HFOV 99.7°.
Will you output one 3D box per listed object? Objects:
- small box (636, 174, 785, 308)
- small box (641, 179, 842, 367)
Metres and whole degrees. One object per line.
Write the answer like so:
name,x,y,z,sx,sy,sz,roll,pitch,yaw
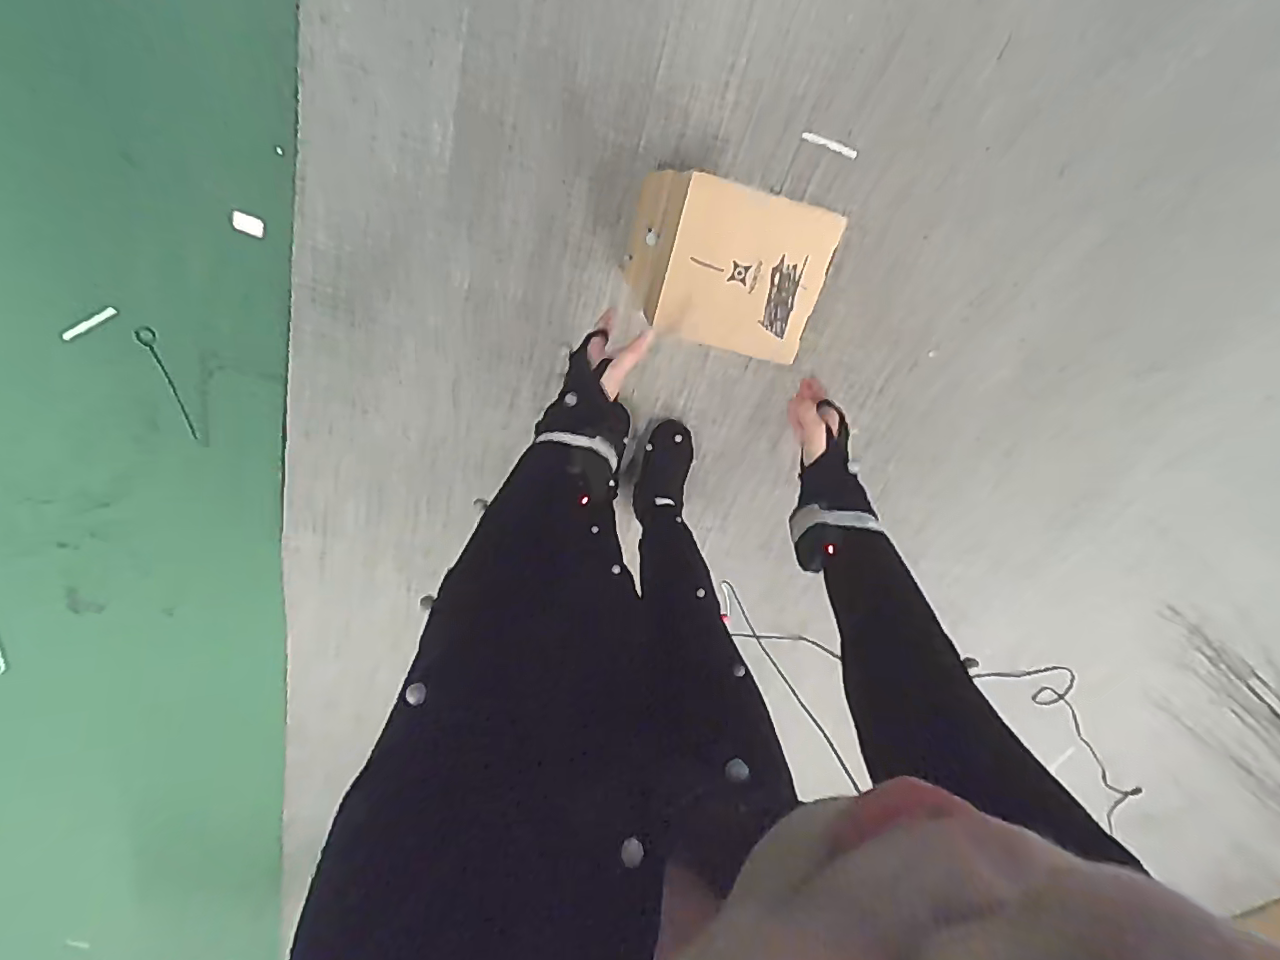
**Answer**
small box,0.090,-0.338,0.808,0.168,0.176,0.179,10,117,-9
small box,0.108,-0.257,0.666,0.179,0.176,0.168,12,116,-10
